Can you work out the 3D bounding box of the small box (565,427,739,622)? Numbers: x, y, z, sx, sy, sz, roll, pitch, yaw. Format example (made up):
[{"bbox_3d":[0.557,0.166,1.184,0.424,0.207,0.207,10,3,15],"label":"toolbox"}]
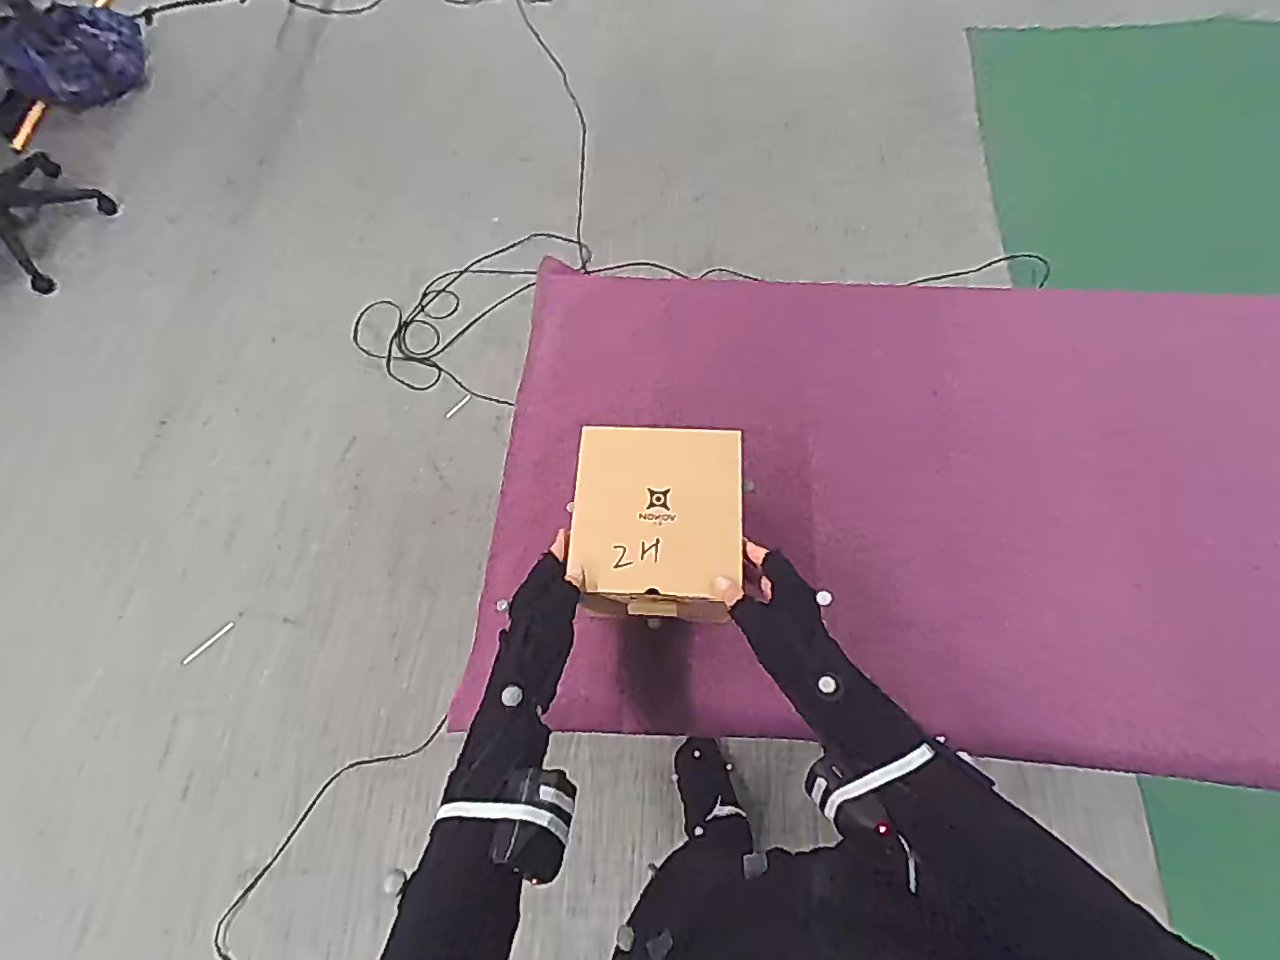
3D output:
[{"bbox_3d":[0.019,0.057,0.608,0.168,0.176,0.179,2,69,5],"label":"small box"}]
